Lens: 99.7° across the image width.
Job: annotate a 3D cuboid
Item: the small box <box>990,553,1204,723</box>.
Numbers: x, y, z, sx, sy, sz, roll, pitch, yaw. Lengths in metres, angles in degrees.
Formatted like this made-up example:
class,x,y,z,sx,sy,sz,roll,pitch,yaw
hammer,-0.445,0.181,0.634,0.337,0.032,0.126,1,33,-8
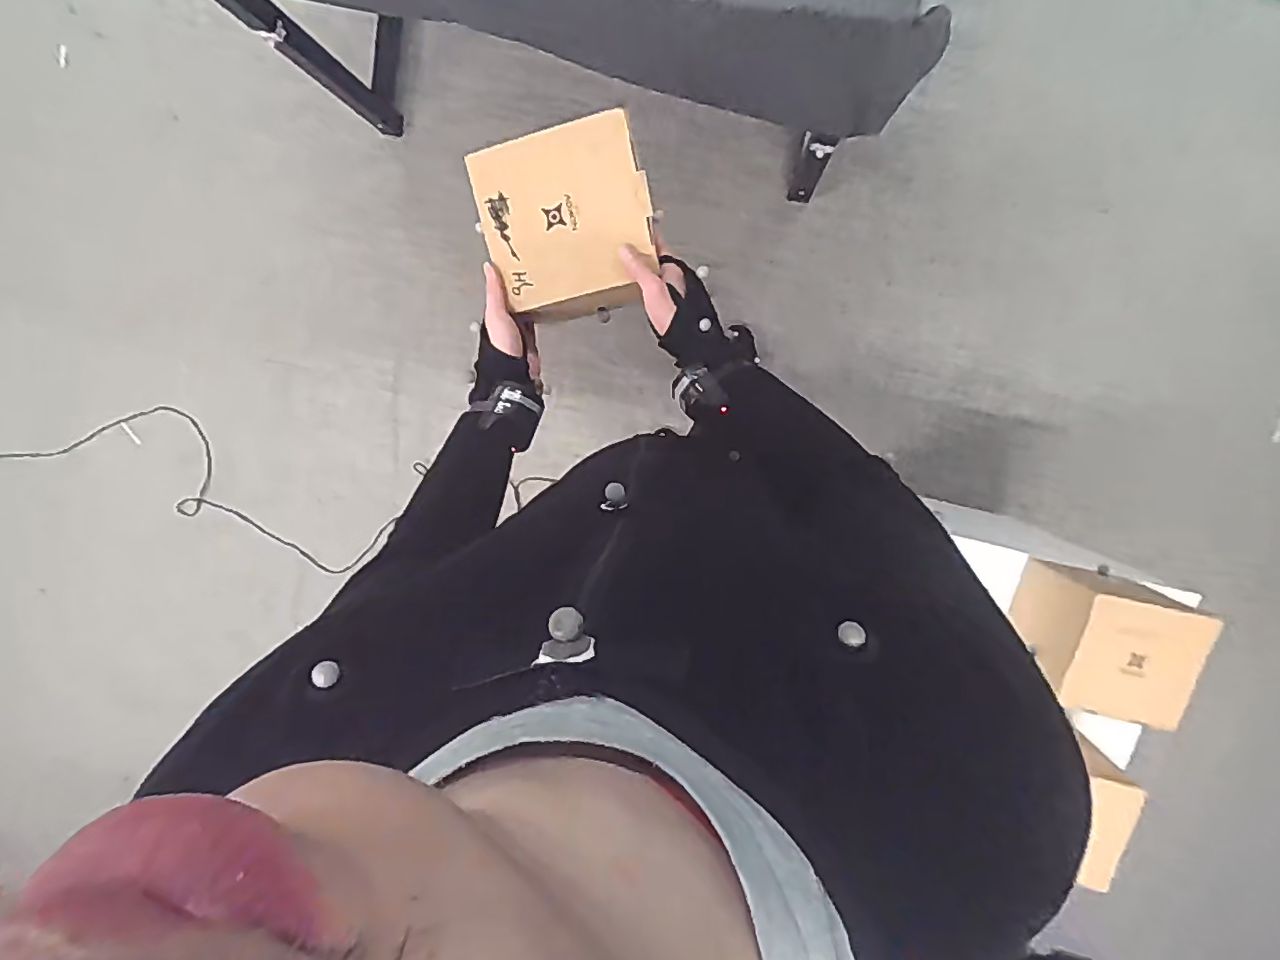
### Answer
class,x,y,z,sx,sy,sz,roll,pitch,yaw
small box,0.681,0.232,0.833,0.168,0.176,0.179,11,100,2

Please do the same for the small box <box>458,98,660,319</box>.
class,x,y,z,sx,sy,sz,roll,pitch,yaw
small box,-0.078,-0.291,0.620,0.179,0.176,0.168,-11,100,5
